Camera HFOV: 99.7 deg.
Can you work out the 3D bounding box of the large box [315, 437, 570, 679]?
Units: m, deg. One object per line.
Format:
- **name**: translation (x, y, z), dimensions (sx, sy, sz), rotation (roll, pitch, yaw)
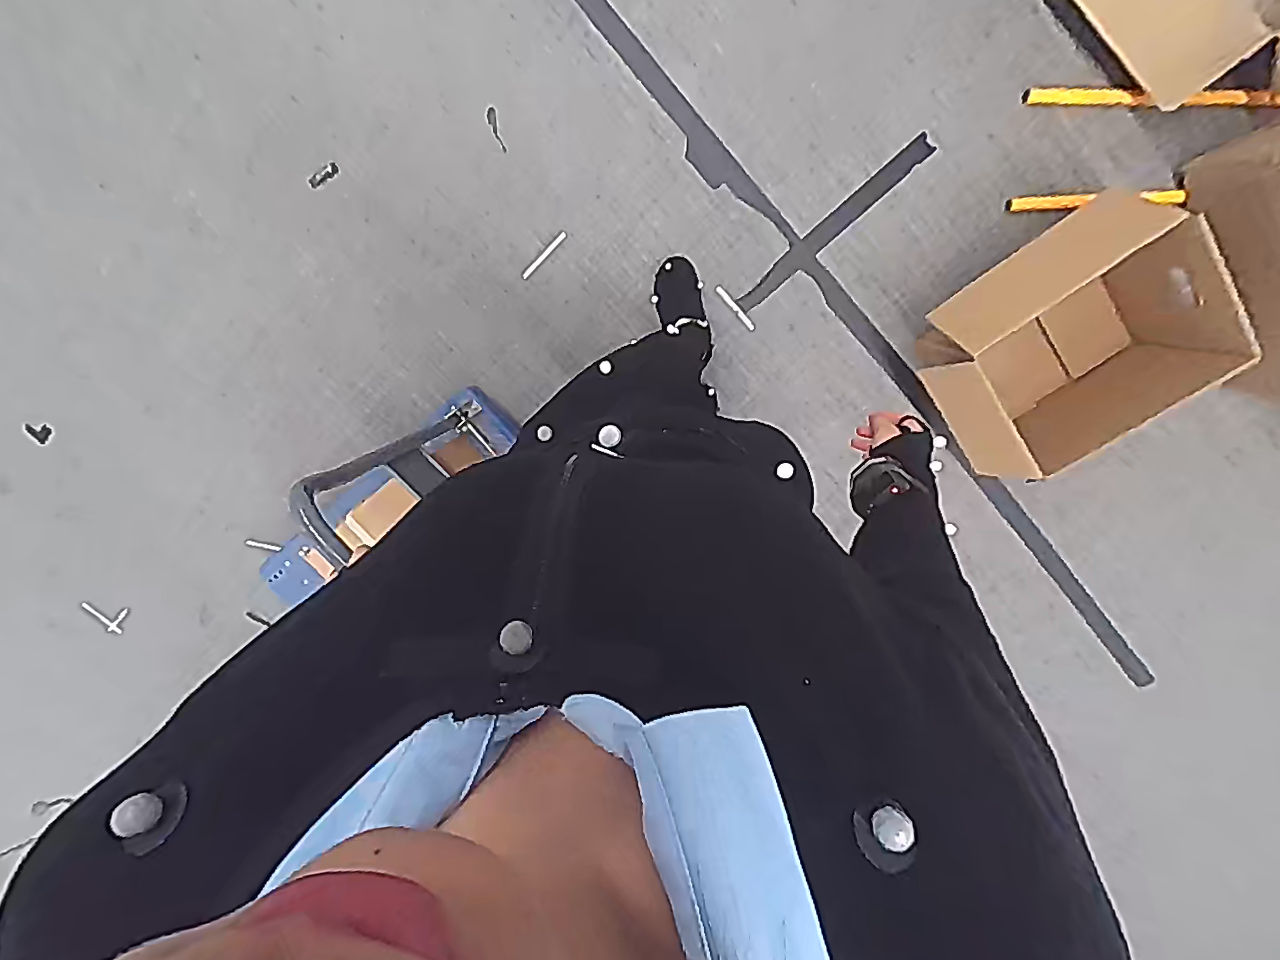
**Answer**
- **large box**: translation (-0.433, 0.170, 1.277), dimensions (0.320, 0.320, 0.408), rotation (-37, 101, 15)
